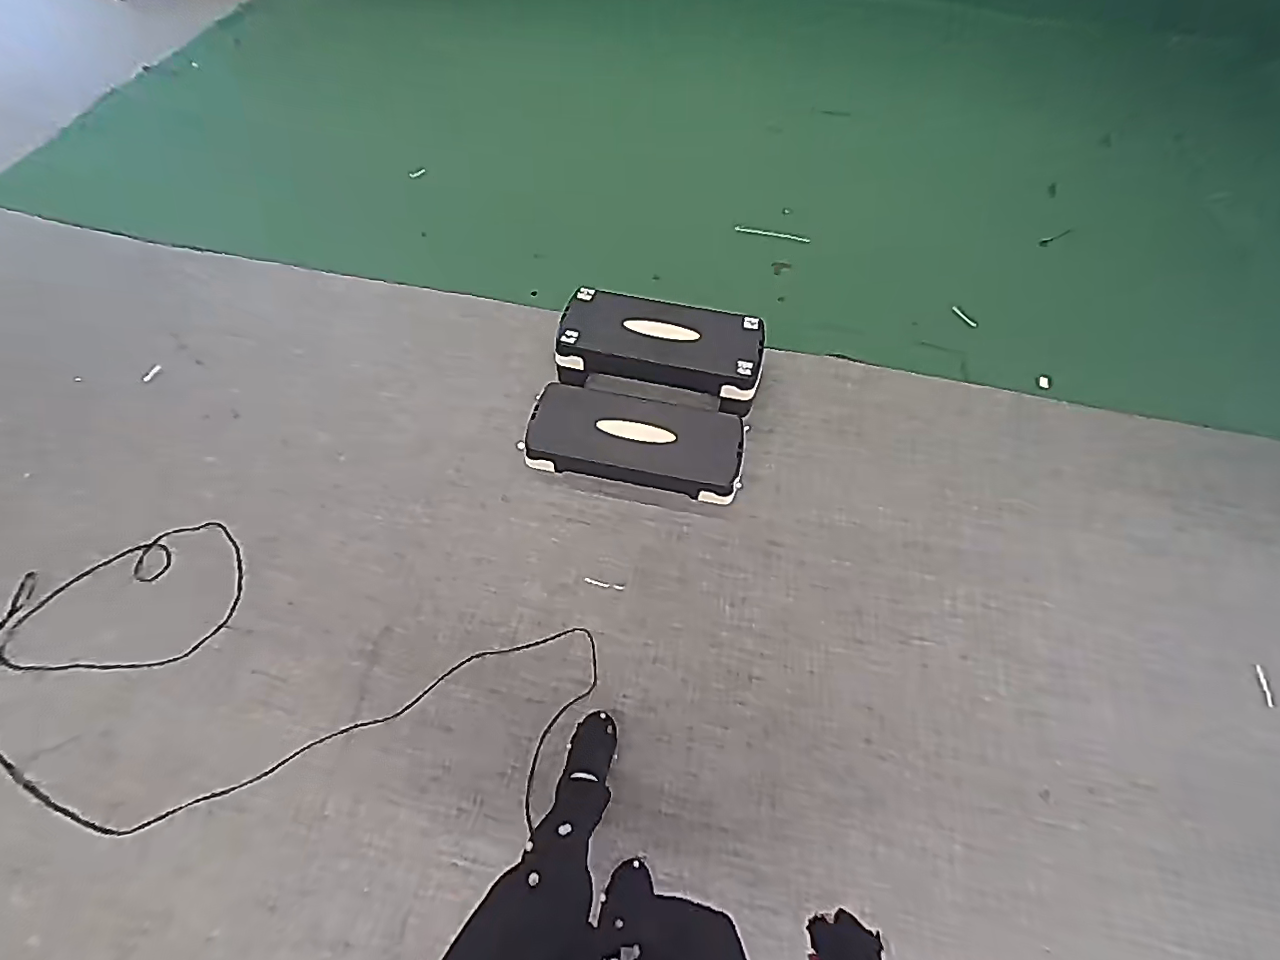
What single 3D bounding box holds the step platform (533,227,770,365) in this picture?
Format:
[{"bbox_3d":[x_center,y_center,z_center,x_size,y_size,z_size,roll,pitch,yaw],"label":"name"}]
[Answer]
[{"bbox_3d":[0.034,-0.559,1.654,0.684,0.204,0.286,11,61,5],"label":"step platform"}]
